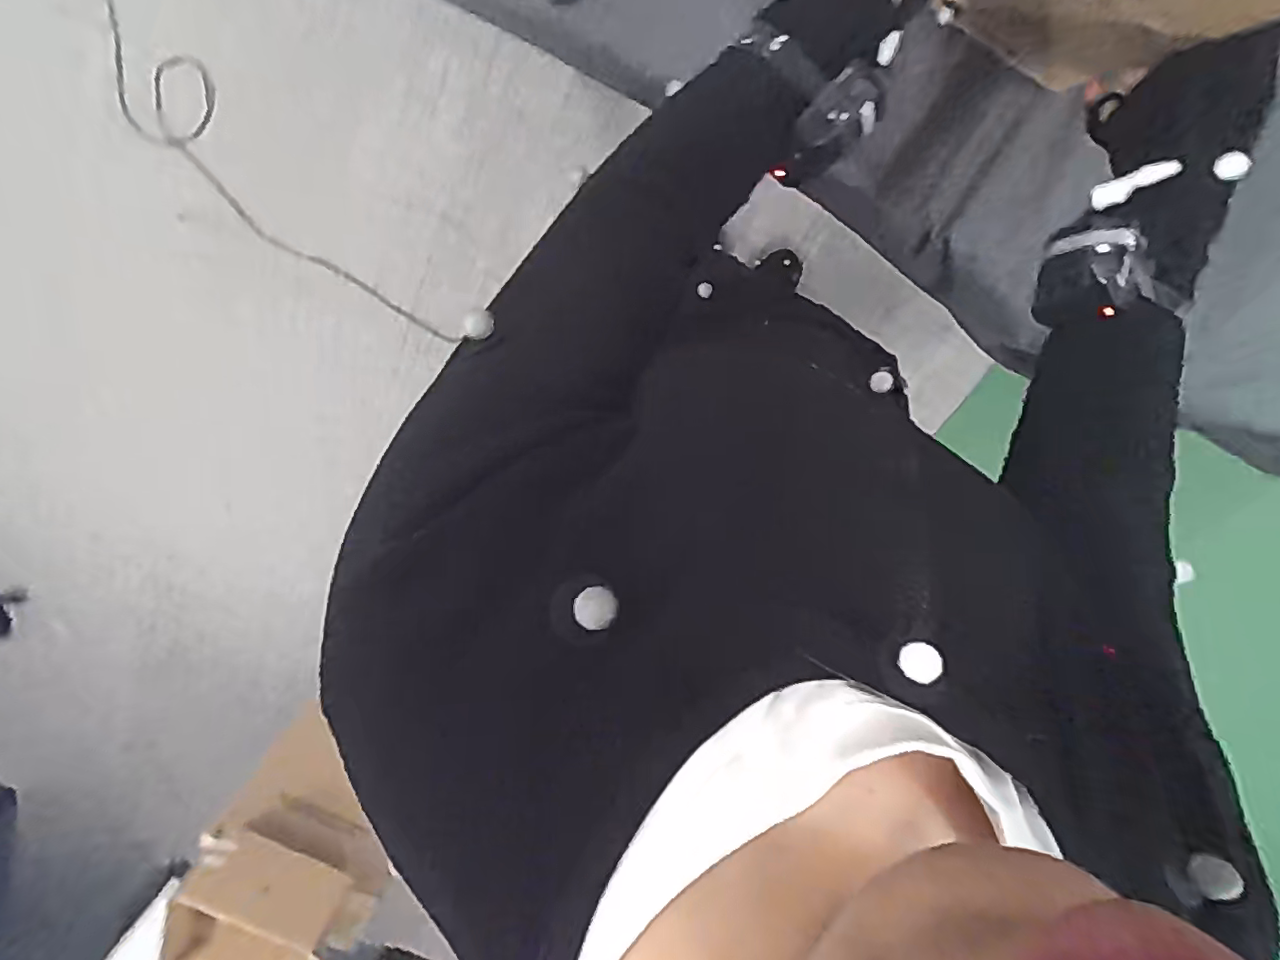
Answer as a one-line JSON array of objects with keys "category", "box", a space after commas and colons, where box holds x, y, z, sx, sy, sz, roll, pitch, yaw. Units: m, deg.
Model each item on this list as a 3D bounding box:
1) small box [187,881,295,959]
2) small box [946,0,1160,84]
[{"category": "small box", "box": [-1.124, 1.277, 1.525, 0.179, 0.176, 0.168, 28, 119, -4]}, {"category": "small box", "box": [0.351, -0.431, 0.389, 0.168, 0.176, 0.179, 29, 116, -7]}]
